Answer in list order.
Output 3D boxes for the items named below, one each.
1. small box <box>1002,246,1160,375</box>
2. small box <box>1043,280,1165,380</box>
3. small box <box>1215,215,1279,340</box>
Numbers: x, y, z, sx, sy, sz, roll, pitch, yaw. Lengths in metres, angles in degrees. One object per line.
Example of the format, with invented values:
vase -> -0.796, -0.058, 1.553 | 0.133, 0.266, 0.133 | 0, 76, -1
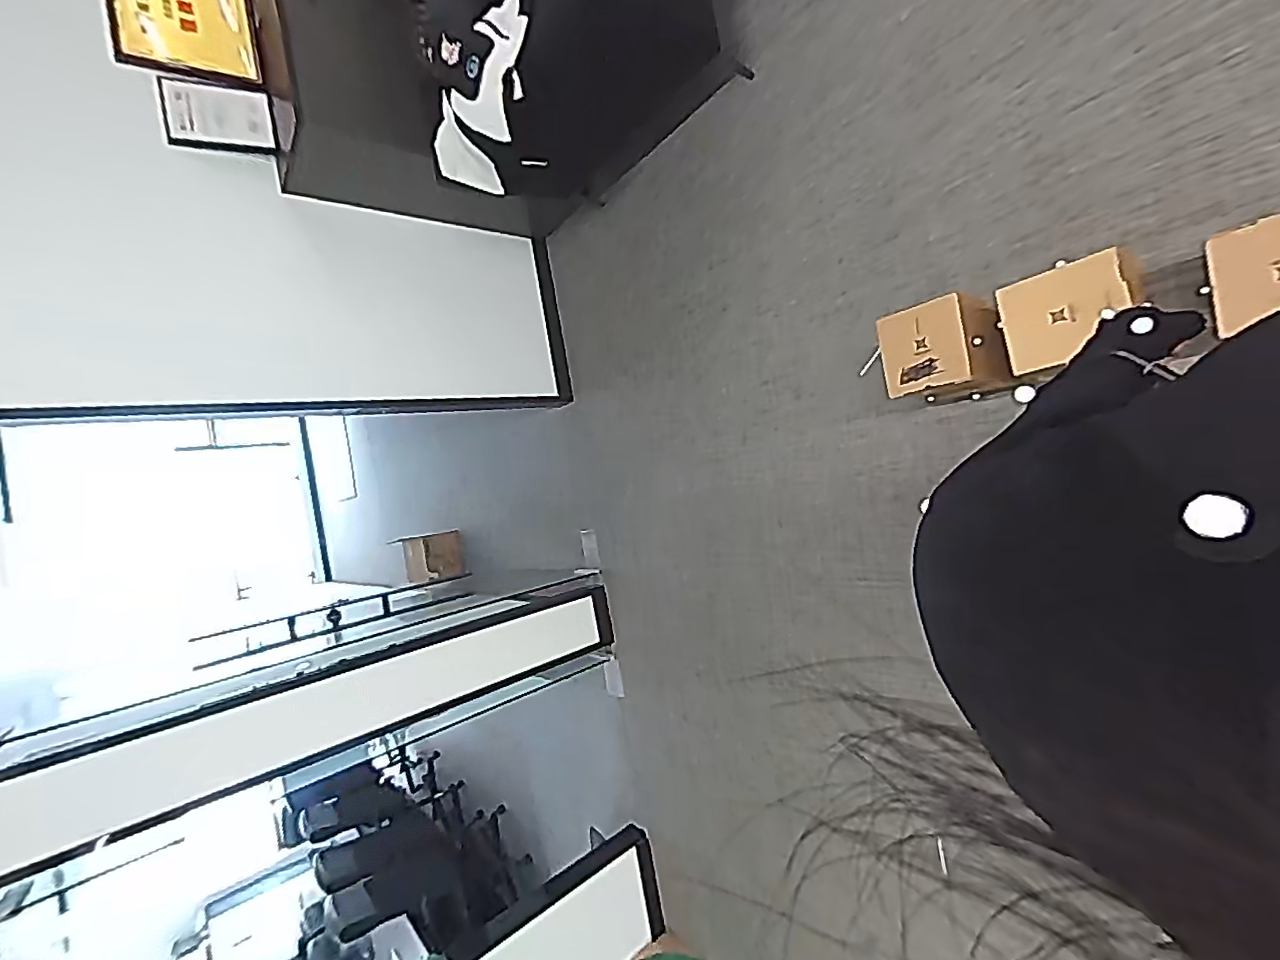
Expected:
small box -> 0.799, -0.293, 0.980 | 0.179, 0.176, 0.168 | -15, 86, 50
small box -> 0.920, -0.306, 1.088 | 0.168, 0.176, 0.179 | -13, 86, 51
small box -> 1.083, -0.341, 0.892 | 0.168, 0.176, 0.179 | -9, 90, 51
